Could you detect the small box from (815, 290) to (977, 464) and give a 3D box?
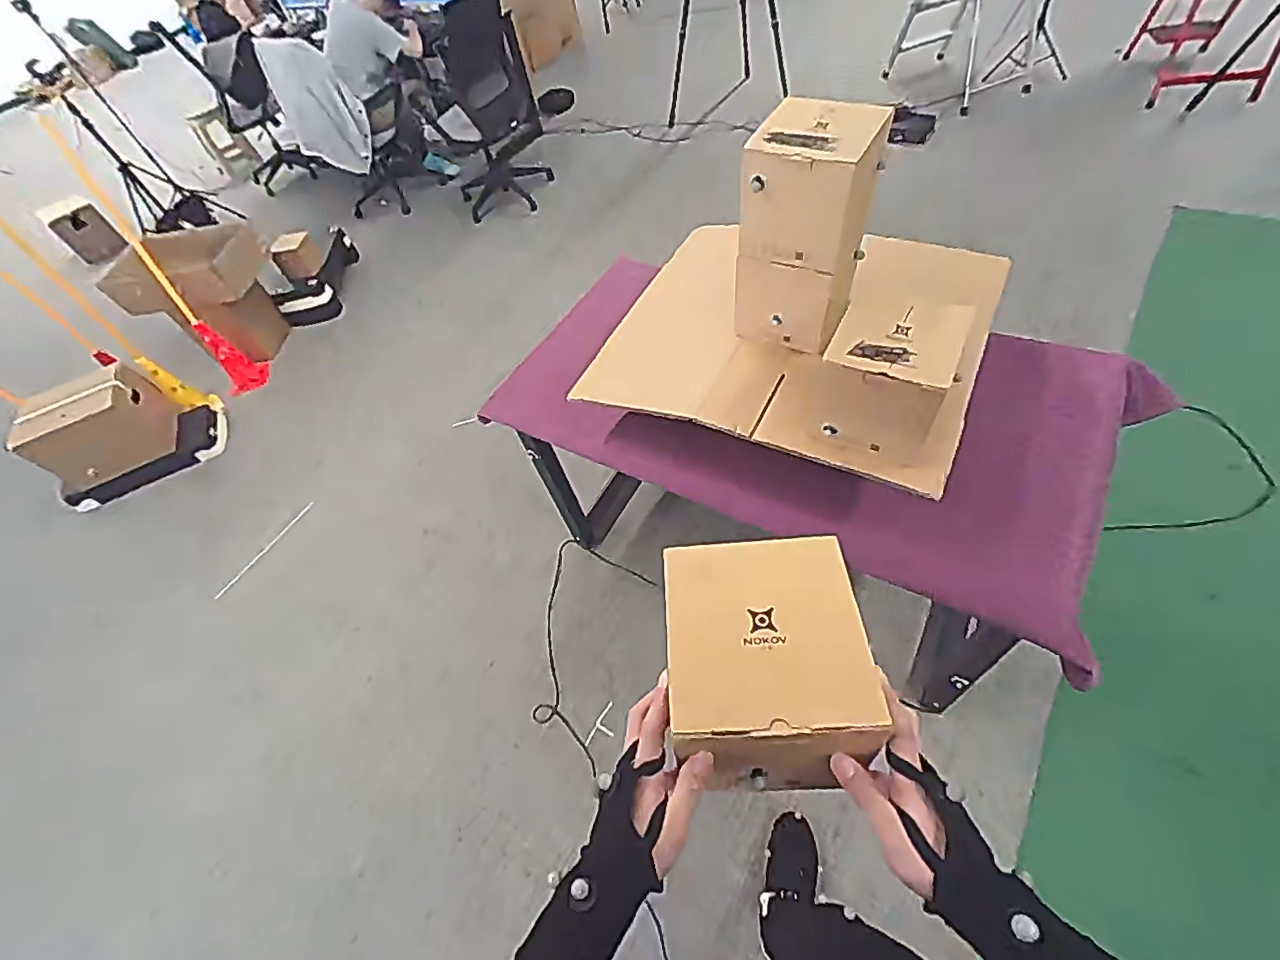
[{"bbox_3d":[0.374,-0.152,0.817,0.168,0.176,0.179,21,61,22],"label":"small box"}]

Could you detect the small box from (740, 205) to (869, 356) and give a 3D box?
[{"bbox_3d":[0.286,-0.358,0.973,0.168,0.176,0.179,22,62,22],"label":"small box"}]
